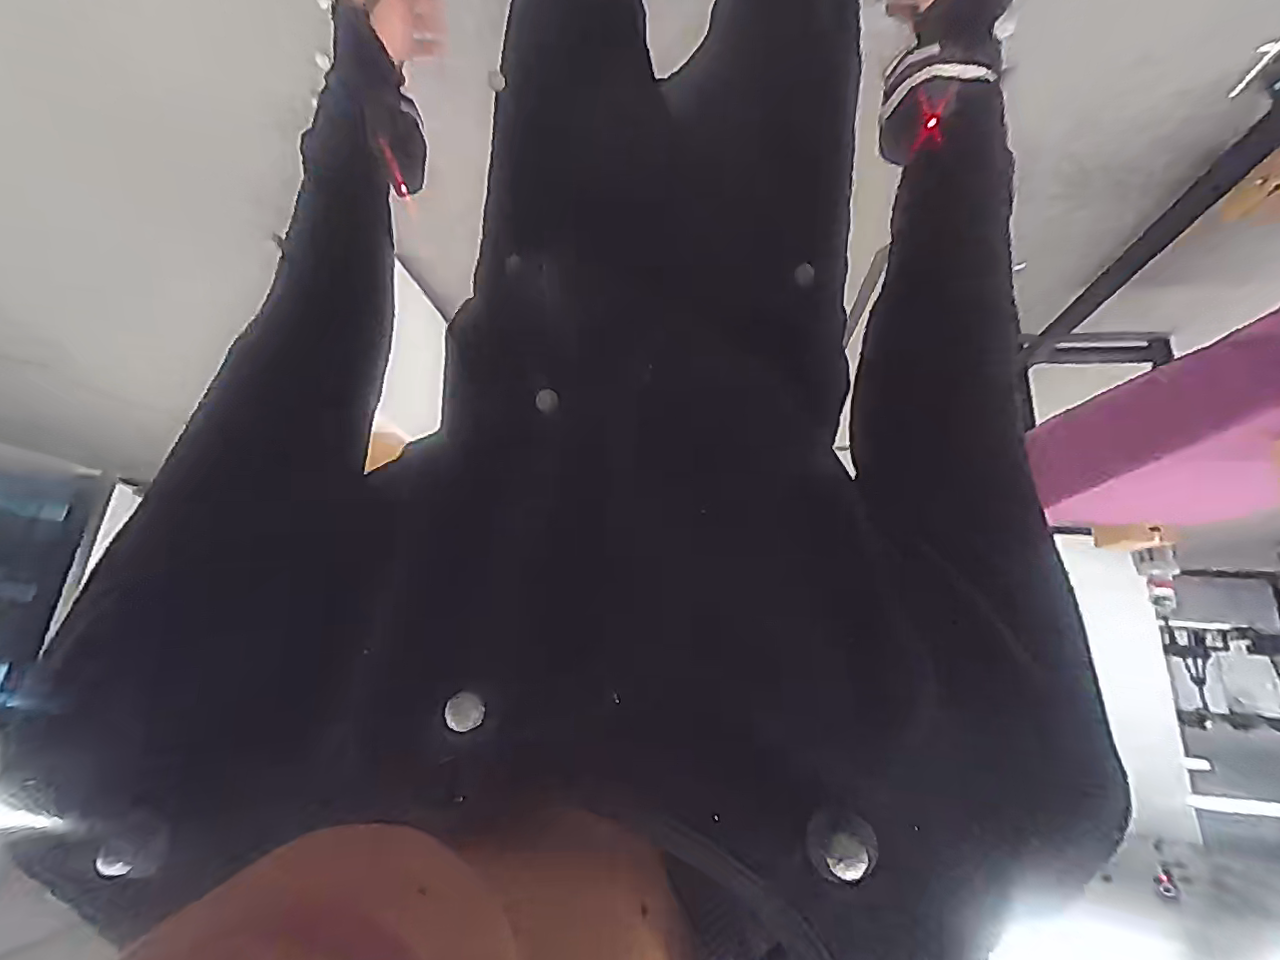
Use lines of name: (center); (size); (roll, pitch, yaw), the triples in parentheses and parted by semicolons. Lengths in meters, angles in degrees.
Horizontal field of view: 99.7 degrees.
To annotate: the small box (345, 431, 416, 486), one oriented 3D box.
small box: (-0.989, -0.083, 2.074); (0.179, 0.176, 0.168); (3, 164, 6)
